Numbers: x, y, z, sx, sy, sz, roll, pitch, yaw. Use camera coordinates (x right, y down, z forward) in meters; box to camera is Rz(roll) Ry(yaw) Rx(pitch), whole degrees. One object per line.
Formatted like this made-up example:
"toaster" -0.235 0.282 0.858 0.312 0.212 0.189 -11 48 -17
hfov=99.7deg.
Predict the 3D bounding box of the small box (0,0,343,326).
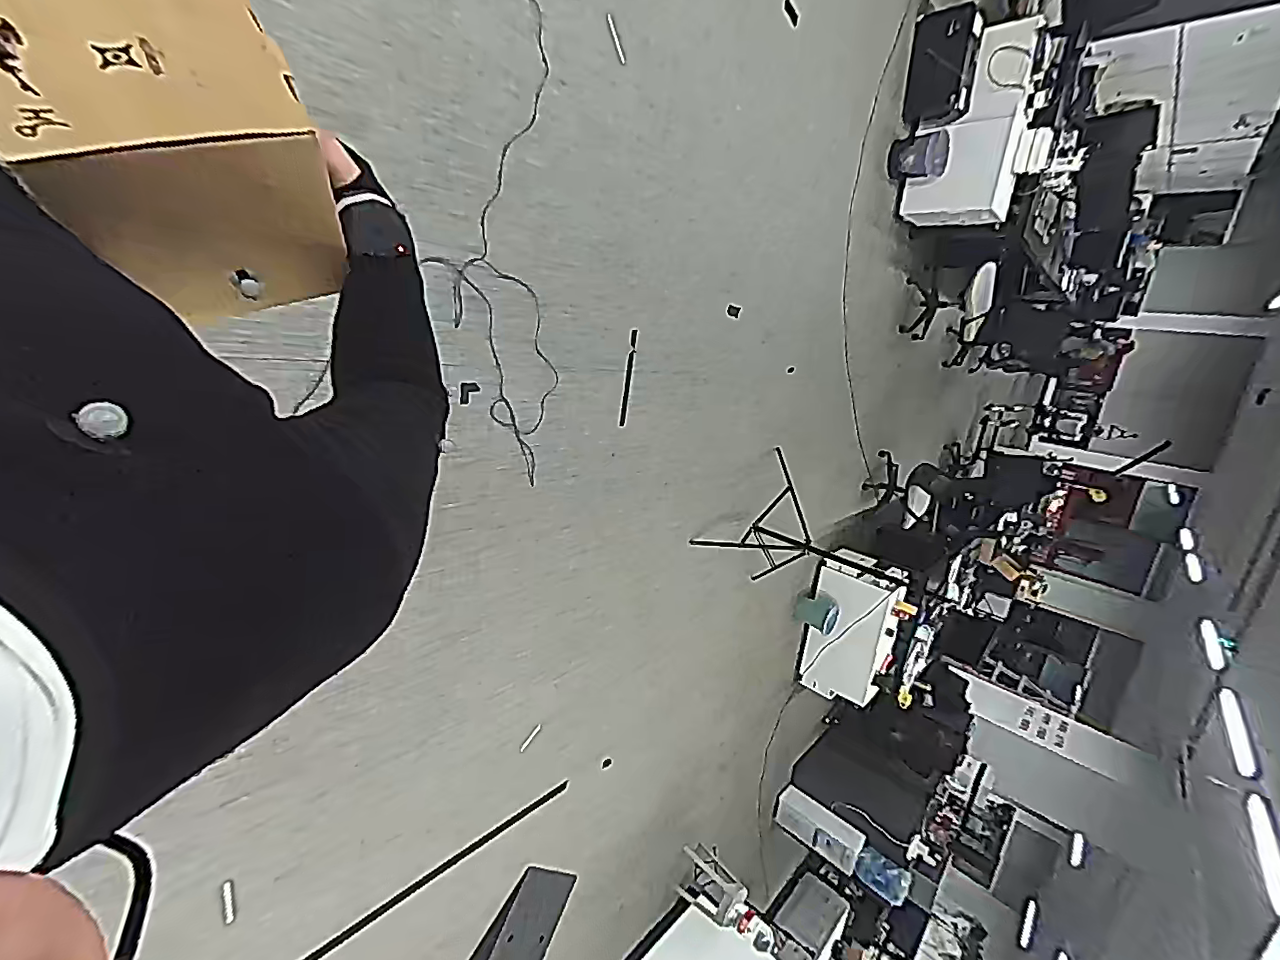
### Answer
"small box" -0.376 -0.262 0.460 0.179 0.168 0.176 -25 167 -26
